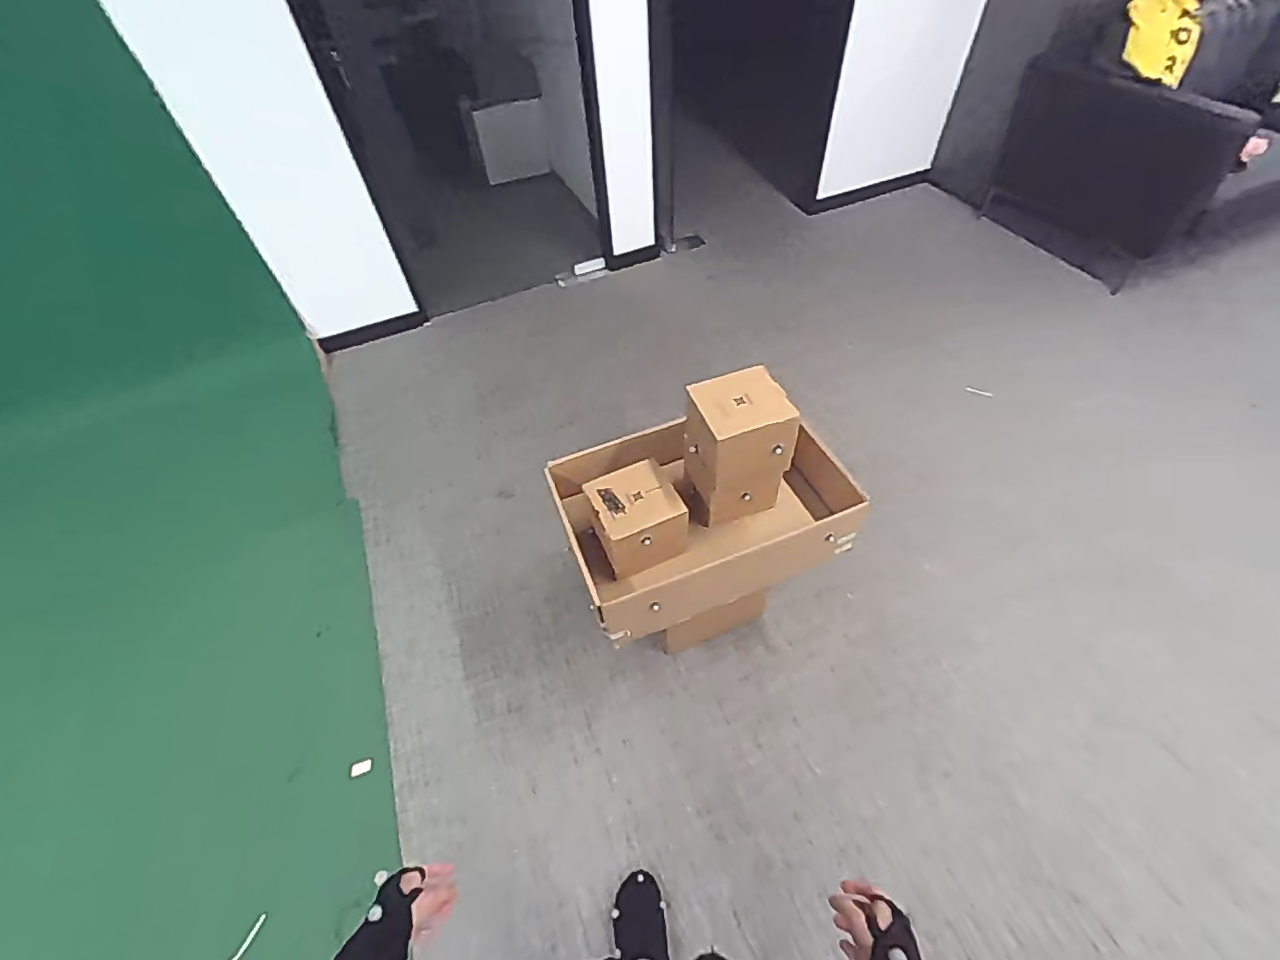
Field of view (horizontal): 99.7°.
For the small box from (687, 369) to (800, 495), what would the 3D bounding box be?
[{"bbox_3d":[0.205,-0.097,1.121,0.179,0.176,0.168,-18,52,-7],"label":"small box"}]
